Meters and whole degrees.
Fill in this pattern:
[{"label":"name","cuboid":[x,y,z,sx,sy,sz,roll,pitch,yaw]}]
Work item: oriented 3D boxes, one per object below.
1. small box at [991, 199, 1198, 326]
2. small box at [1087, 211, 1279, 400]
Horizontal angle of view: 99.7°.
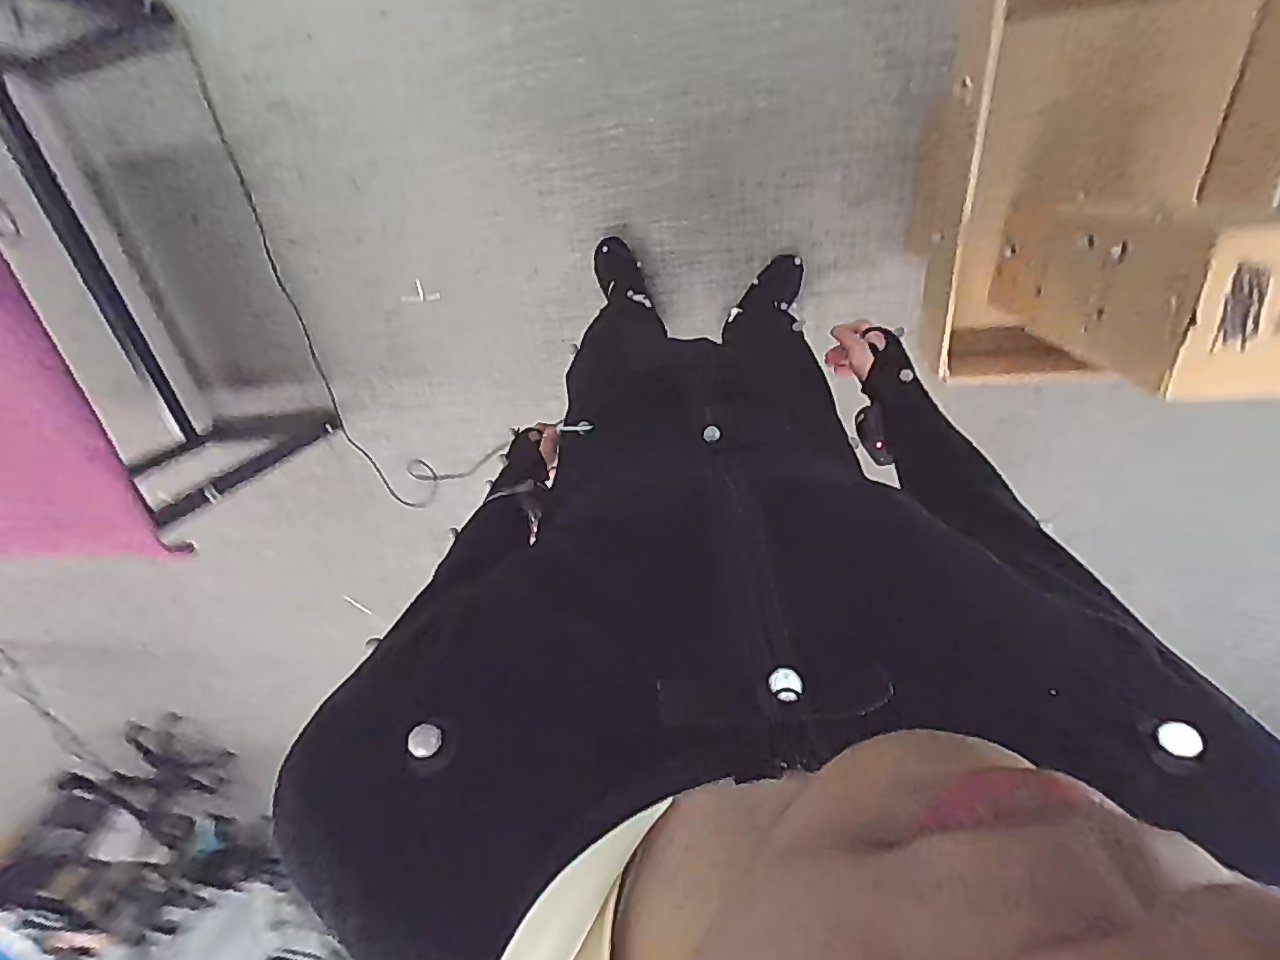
[{"label":"small box","cuboid":[0.703,-0.349,0.864,0.179,0.176,0.168,2,119,12]},{"label":"small box","cuboid":[0.638,-0.191,0.583,0.179,0.176,0.168,0,119,11]}]
